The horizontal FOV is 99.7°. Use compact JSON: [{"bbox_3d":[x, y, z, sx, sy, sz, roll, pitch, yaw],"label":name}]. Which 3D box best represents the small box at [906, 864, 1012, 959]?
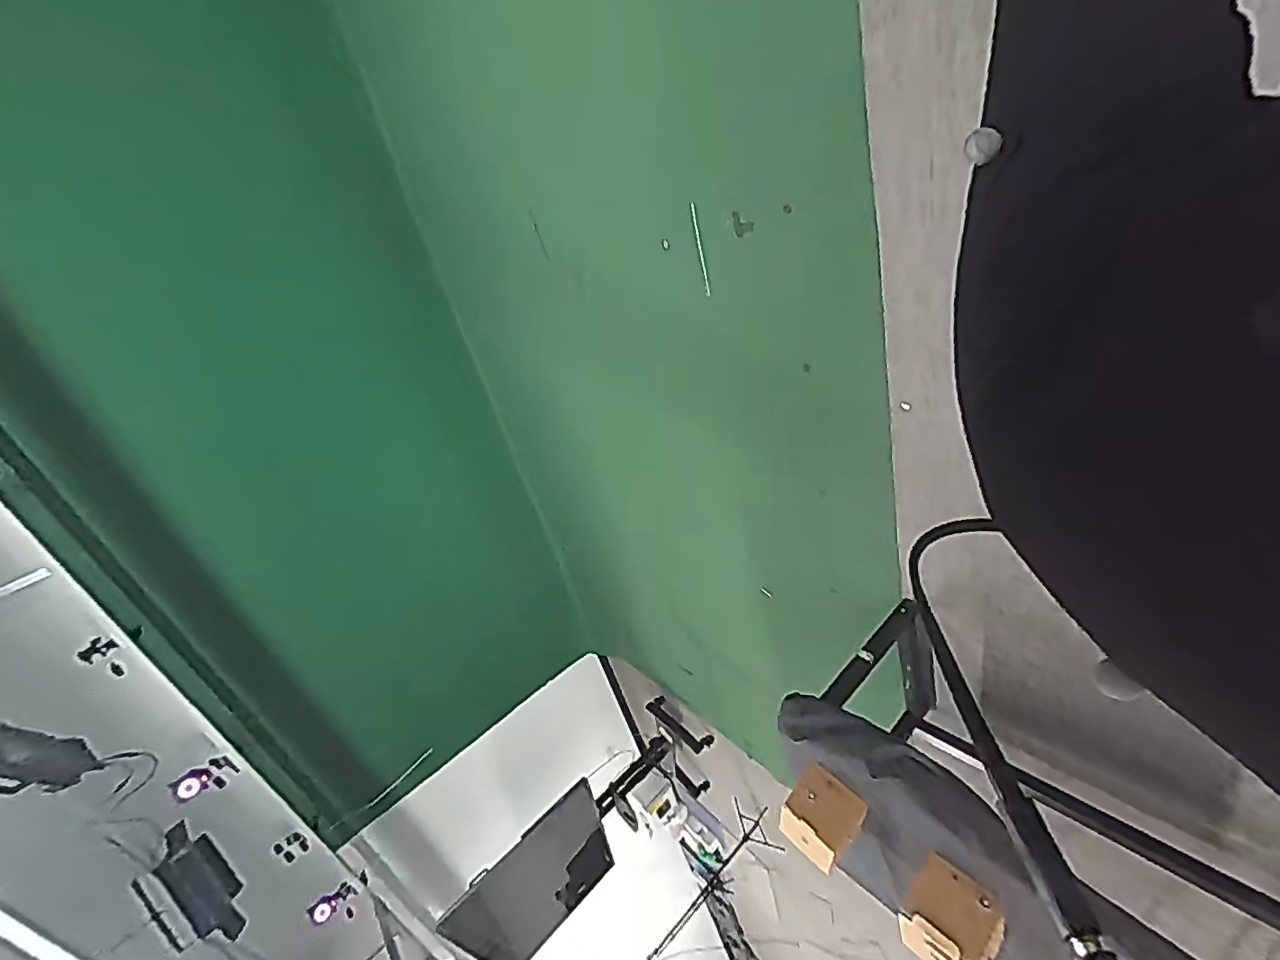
[{"bbox_3d":[0.750,1.063,1.272,0.168,0.176,0.179,19,135,49],"label":"small box"}]

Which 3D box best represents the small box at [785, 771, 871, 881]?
[{"bbox_3d":[0.529,0.967,1.523,0.168,0.176,0.179,30,144,41],"label":"small box"}]
